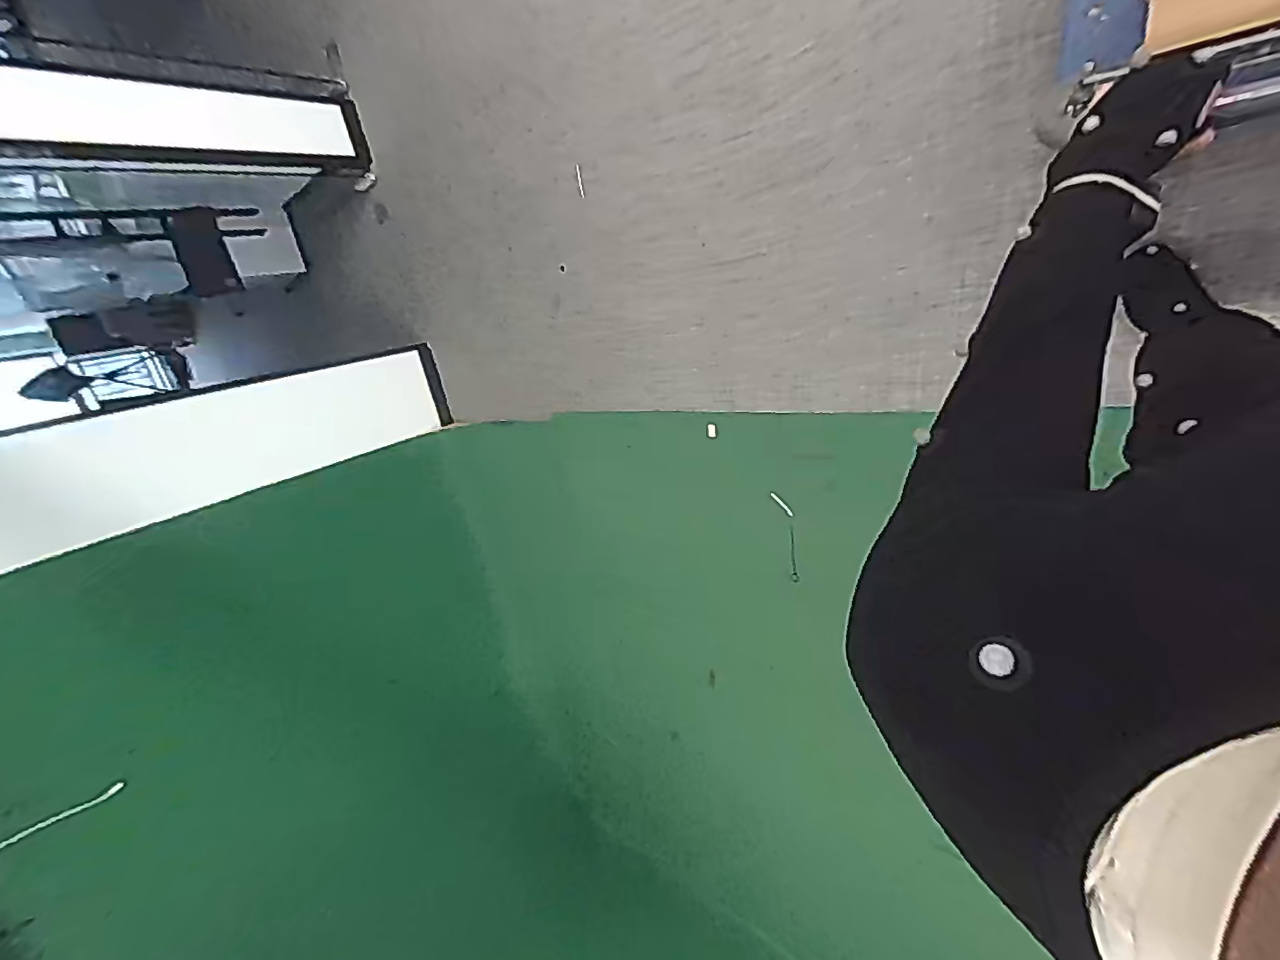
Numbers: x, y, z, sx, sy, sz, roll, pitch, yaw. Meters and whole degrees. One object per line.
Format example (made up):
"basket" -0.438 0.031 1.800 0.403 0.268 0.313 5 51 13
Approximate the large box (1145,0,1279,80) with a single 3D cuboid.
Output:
"large box" 0.878 -0.804 0.677 0.320 0.320 0.408 10 119 39
